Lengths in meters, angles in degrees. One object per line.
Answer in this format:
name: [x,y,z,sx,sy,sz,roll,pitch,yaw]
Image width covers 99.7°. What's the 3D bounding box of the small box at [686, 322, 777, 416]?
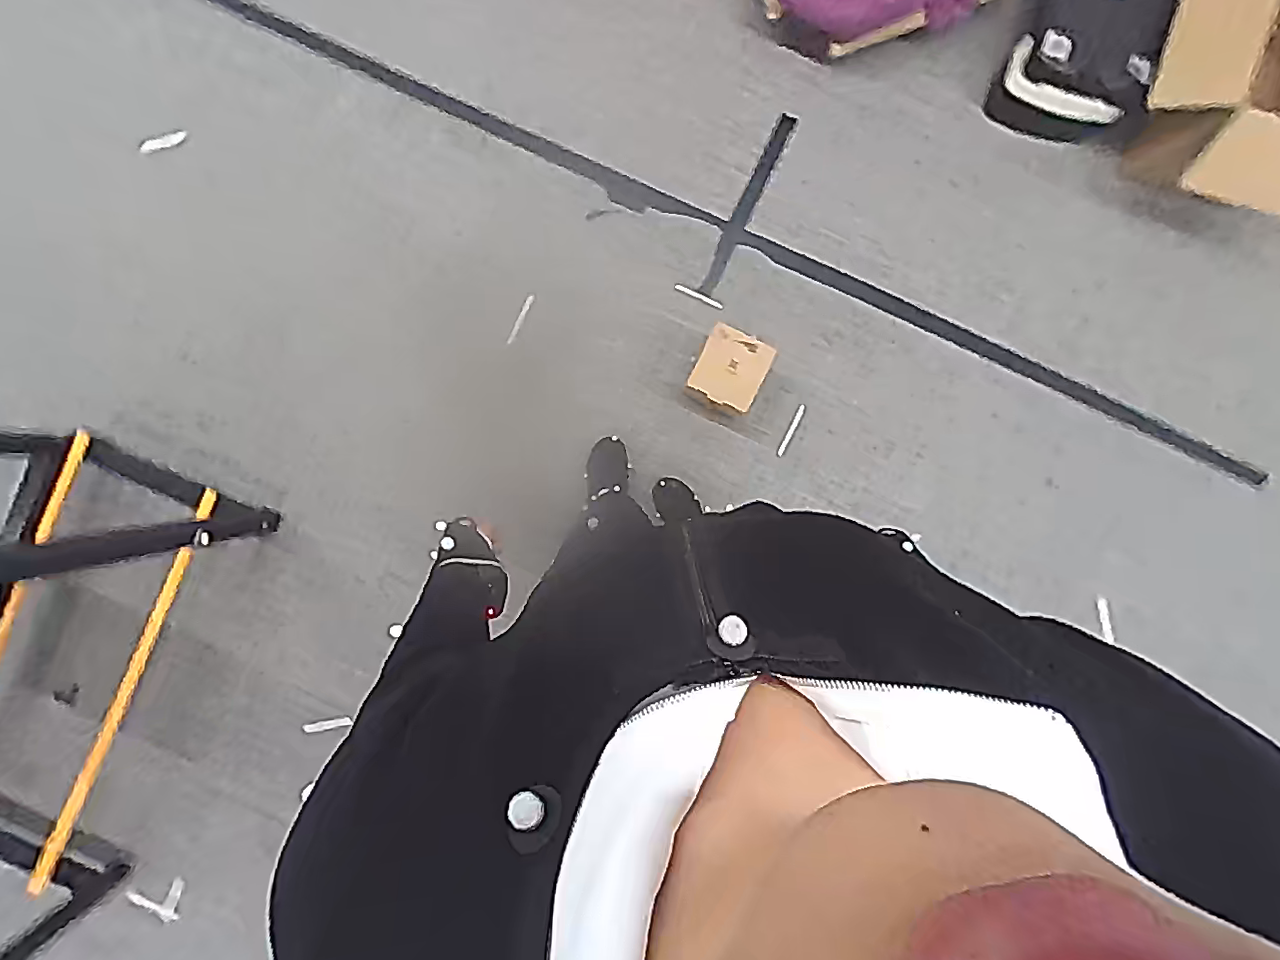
small box: [0.227,-0.277,1.399,0.168,0.176,0.179,27,94,-1]
